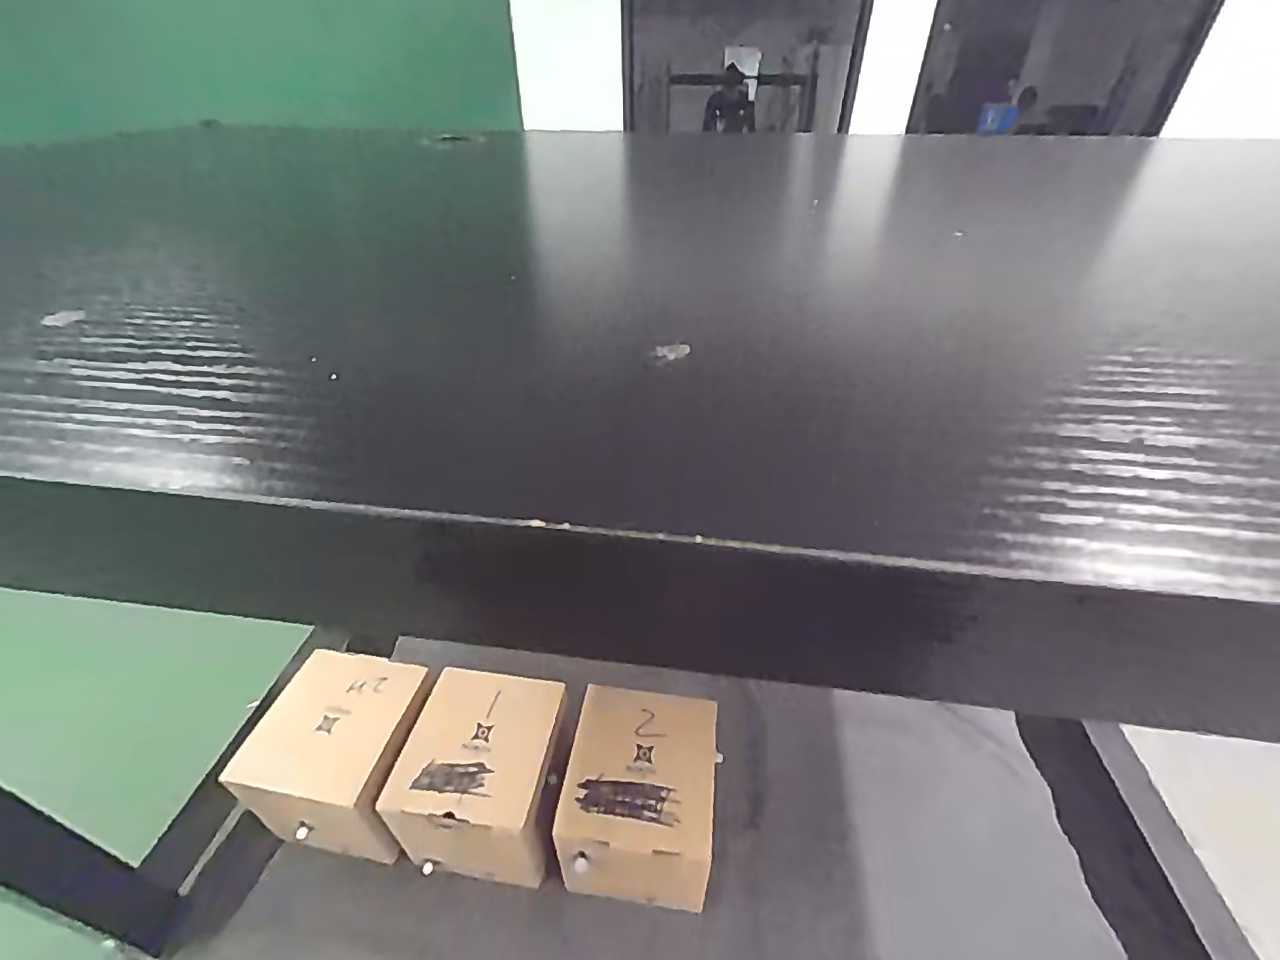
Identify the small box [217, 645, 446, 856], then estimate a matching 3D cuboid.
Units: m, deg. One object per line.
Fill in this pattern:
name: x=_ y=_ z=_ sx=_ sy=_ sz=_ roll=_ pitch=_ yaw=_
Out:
small box: x=-0.370 y=0.346 z=0.693 sx=0.168 sy=0.176 sz=0.179 roll=8 pitch=38 yaw=8
